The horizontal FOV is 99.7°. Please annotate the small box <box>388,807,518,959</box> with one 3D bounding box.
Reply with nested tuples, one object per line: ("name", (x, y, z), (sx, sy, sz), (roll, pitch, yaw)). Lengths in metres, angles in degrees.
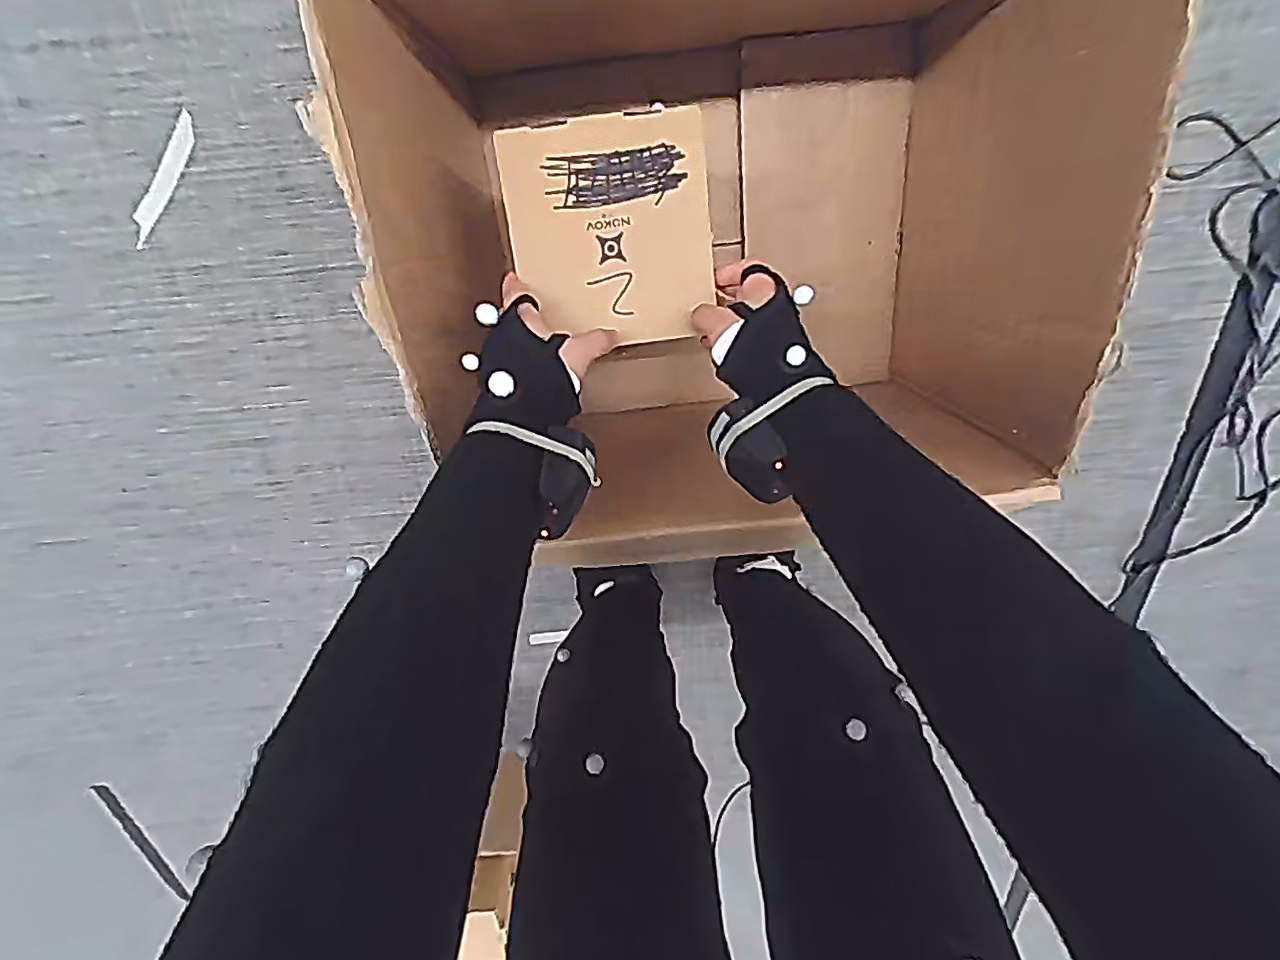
("small box", (-0.314, 0.708, 0.955), (0.179, 0.176, 0.168), (-2, 115, -3))
